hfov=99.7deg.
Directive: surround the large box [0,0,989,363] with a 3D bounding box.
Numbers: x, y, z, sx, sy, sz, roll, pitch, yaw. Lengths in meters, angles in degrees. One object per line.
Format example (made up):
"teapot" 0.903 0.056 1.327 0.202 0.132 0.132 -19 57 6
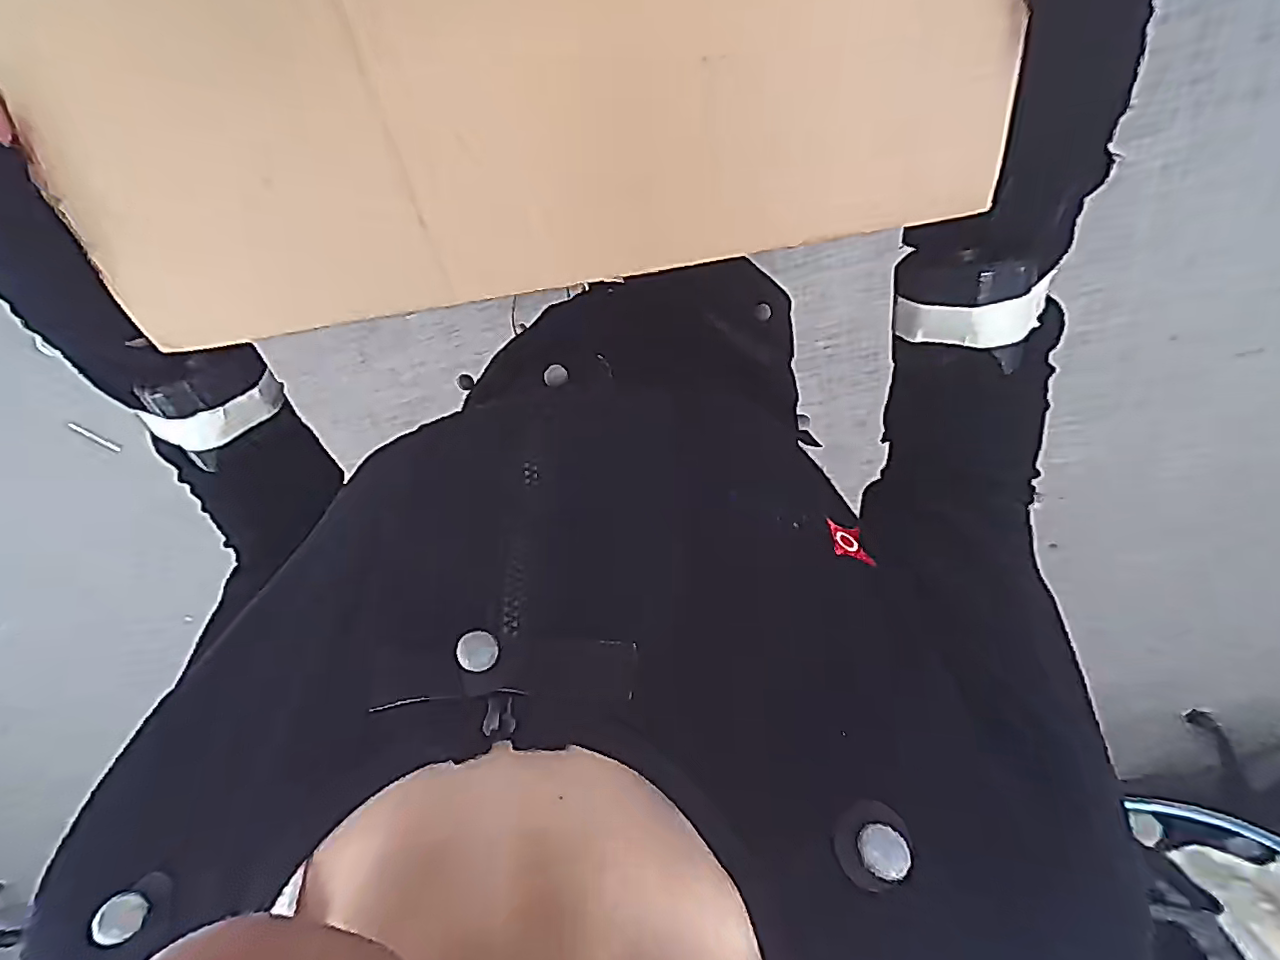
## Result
"large box" -0.076 -0.301 0.295 0.408 0.320 0.320 -7 127 8
